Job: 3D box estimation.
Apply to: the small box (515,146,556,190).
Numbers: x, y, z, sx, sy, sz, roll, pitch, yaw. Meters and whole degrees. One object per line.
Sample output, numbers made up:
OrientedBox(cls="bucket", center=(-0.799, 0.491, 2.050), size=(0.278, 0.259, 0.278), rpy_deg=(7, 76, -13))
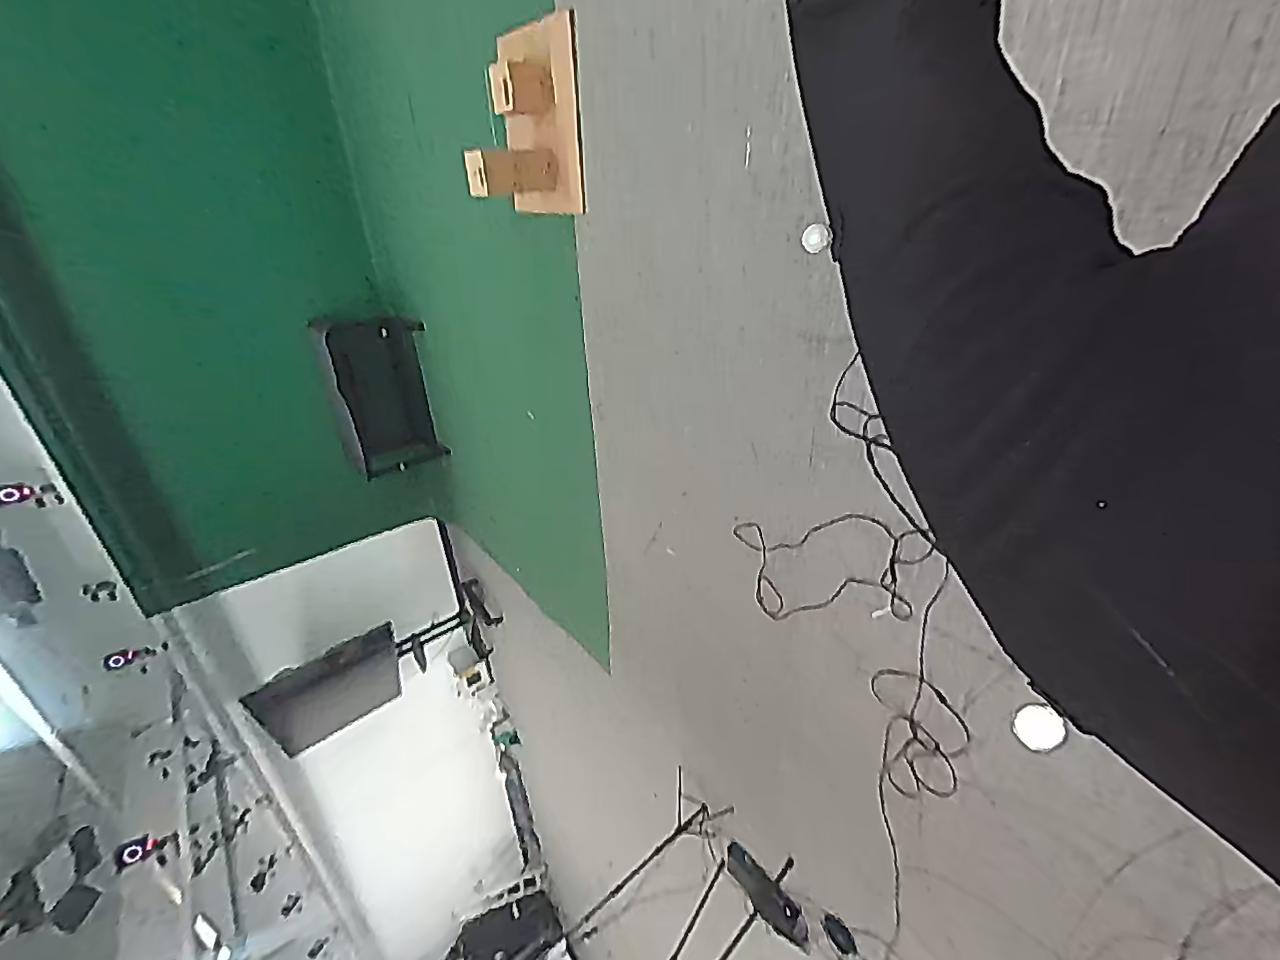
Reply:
OrientedBox(cls="small box", center=(-0.498, -1.391, 2.416), size=(0.179, 0.176, 0.168), rpy_deg=(28, 132, 44))

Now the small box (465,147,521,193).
OrientedBox(cls="small box", center=(-0.625, -1.335, 2.328), size=(0.179, 0.176, 0.168), rpy_deg=(30, 133, 43))
